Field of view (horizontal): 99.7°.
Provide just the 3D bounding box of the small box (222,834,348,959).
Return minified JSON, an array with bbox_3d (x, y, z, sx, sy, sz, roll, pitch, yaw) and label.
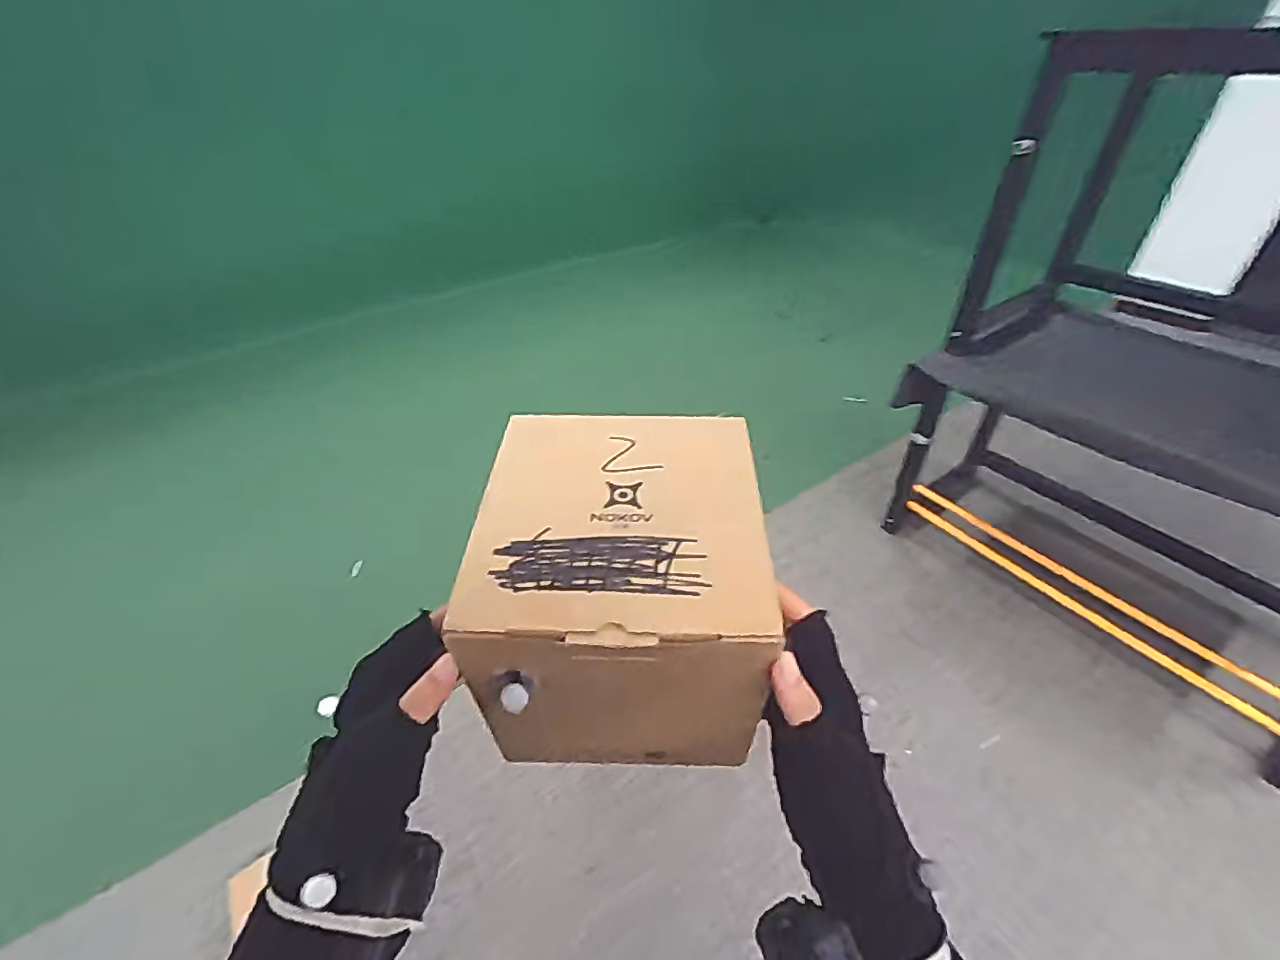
[{"bbox_3d":[-0.757,0.923,1.167,0.179,0.176,0.168,-26,44,-26],"label":"small box"}]
